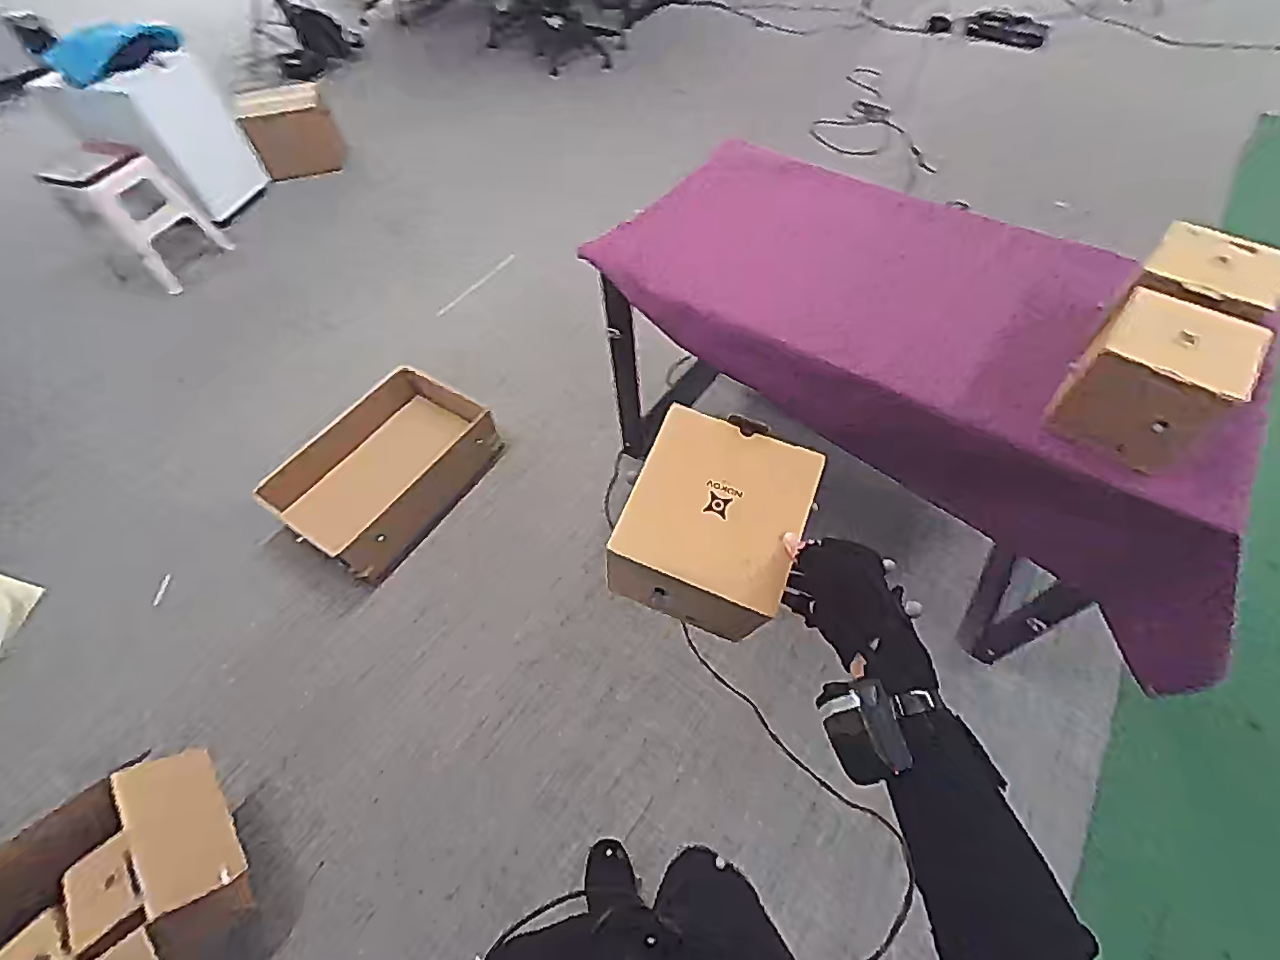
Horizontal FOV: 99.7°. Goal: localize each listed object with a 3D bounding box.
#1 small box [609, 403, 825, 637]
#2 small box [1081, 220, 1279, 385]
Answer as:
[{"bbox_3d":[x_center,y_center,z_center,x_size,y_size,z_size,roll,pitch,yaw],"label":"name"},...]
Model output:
[{"bbox_3d":[0.077,0.053,0.592,0.168,0.176,0.179,22,65,8],"label":"small box"},{"bbox_3d":[0.890,-0.290,0.899,0.168,0.176,0.179,37,66,24],"label":"small box"}]
